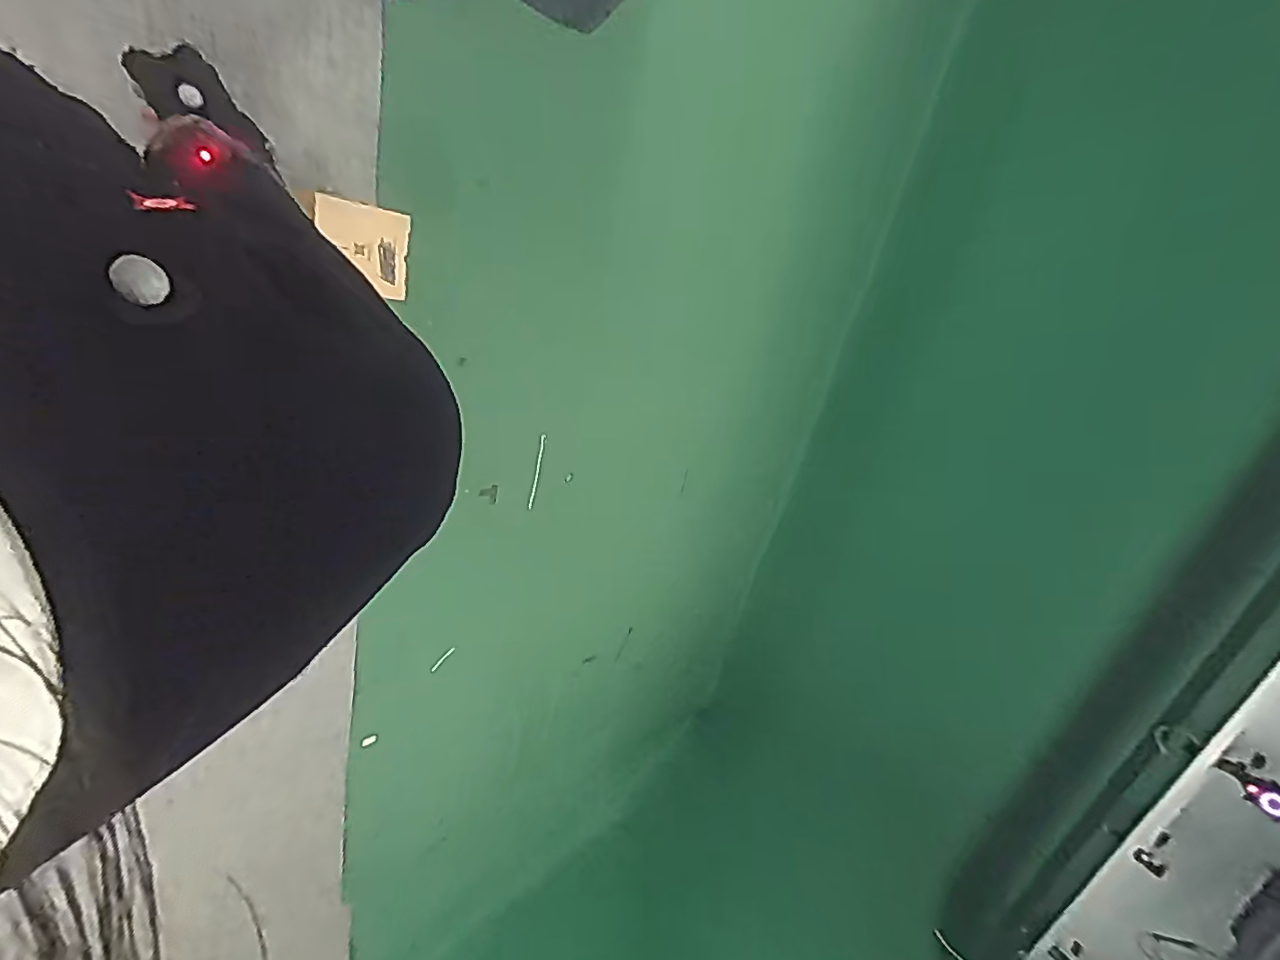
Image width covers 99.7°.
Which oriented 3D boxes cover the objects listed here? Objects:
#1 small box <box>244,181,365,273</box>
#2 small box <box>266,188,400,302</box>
[{"bbox_3d":[-0.719,-0.530,1.162,0.179,0.176,0.168,-13,123,-48],"label":"small box"},{"bbox_3d":[-0.604,-0.462,1.064,0.179,0.176,0.168,-10,120,-50],"label":"small box"}]
